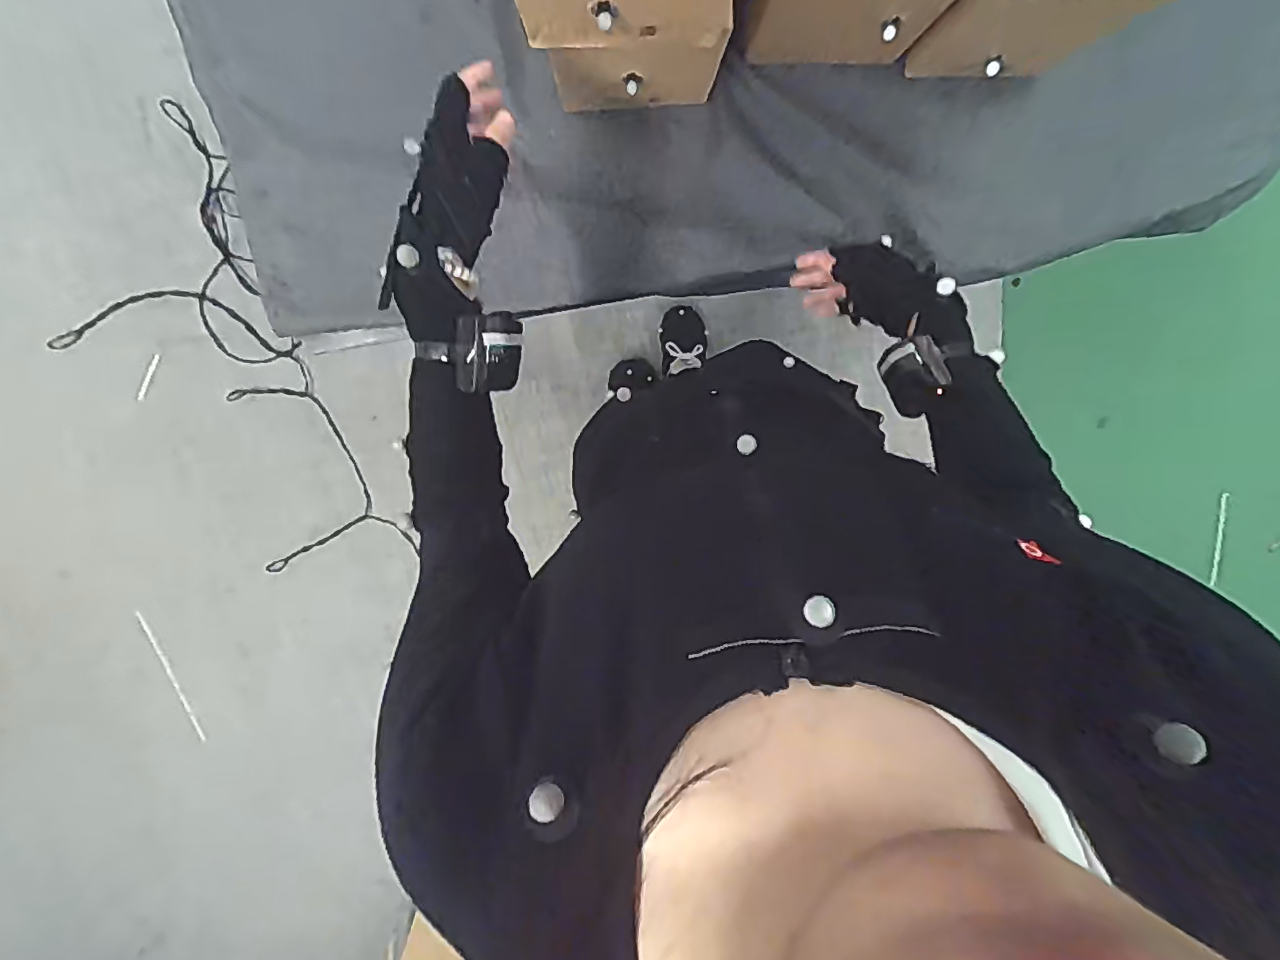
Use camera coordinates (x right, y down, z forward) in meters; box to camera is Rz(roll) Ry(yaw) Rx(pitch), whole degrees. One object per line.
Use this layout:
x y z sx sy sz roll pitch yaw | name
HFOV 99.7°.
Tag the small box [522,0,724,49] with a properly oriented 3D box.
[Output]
-0.016 -0.443 0.375 0.168 0.176 0.179 -1 107 -1 | small box
